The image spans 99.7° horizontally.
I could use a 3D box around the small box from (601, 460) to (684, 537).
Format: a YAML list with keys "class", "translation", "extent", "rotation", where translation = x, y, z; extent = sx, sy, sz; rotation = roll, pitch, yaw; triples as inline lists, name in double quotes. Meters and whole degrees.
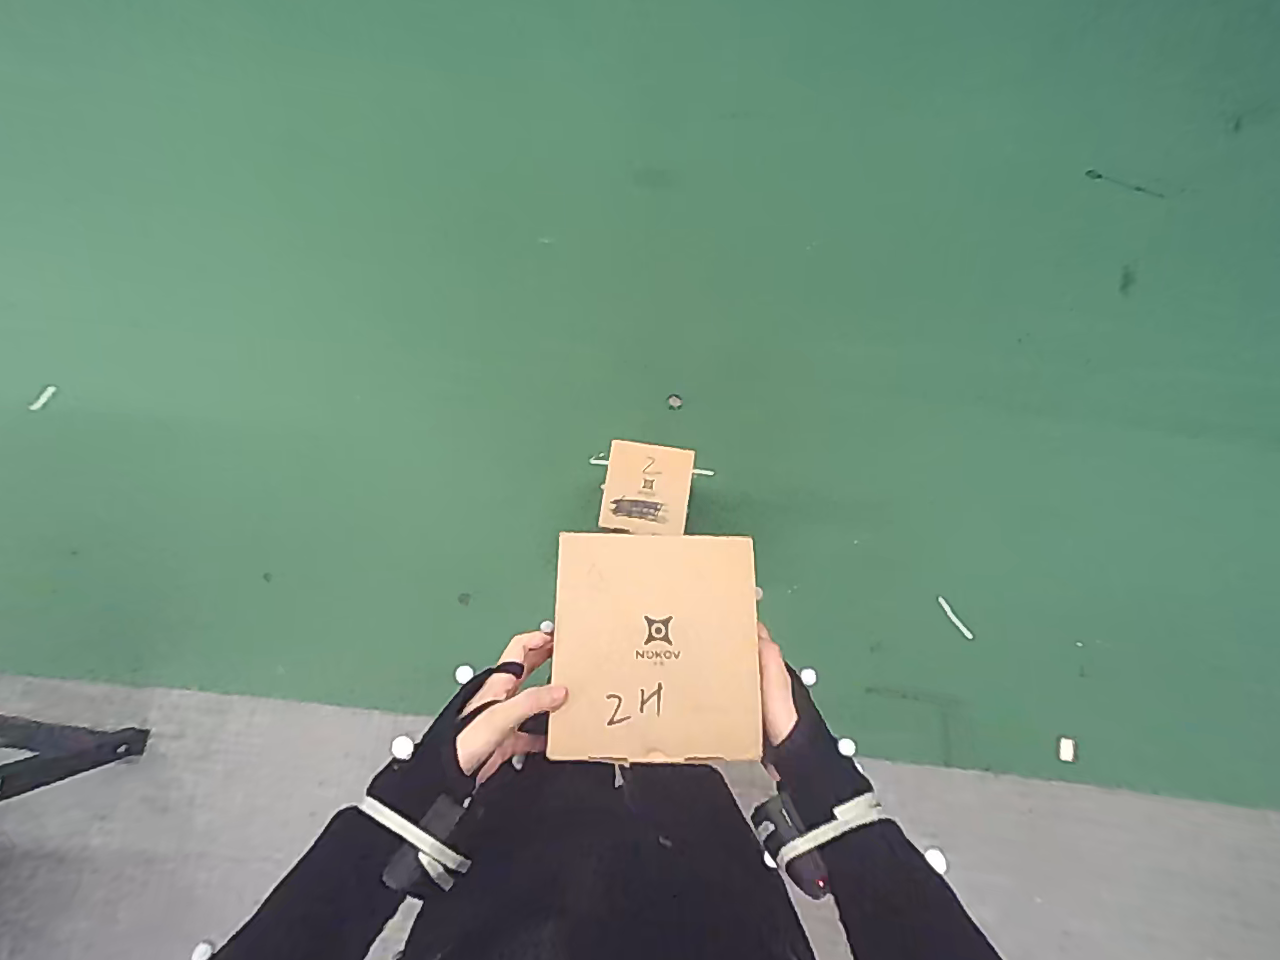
- class: "small box"
  translation: [0.006, 0.064, 1.283]
  extent: [0.168, 0.176, 0.179]
  rotation: [8, 80, 2]

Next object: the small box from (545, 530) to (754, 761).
- class: "small box"
  translation: [0.004, 0.153, 0.515]
  extent: [0.168, 0.176, 0.179]
  rotation: [4, 74, -4]
